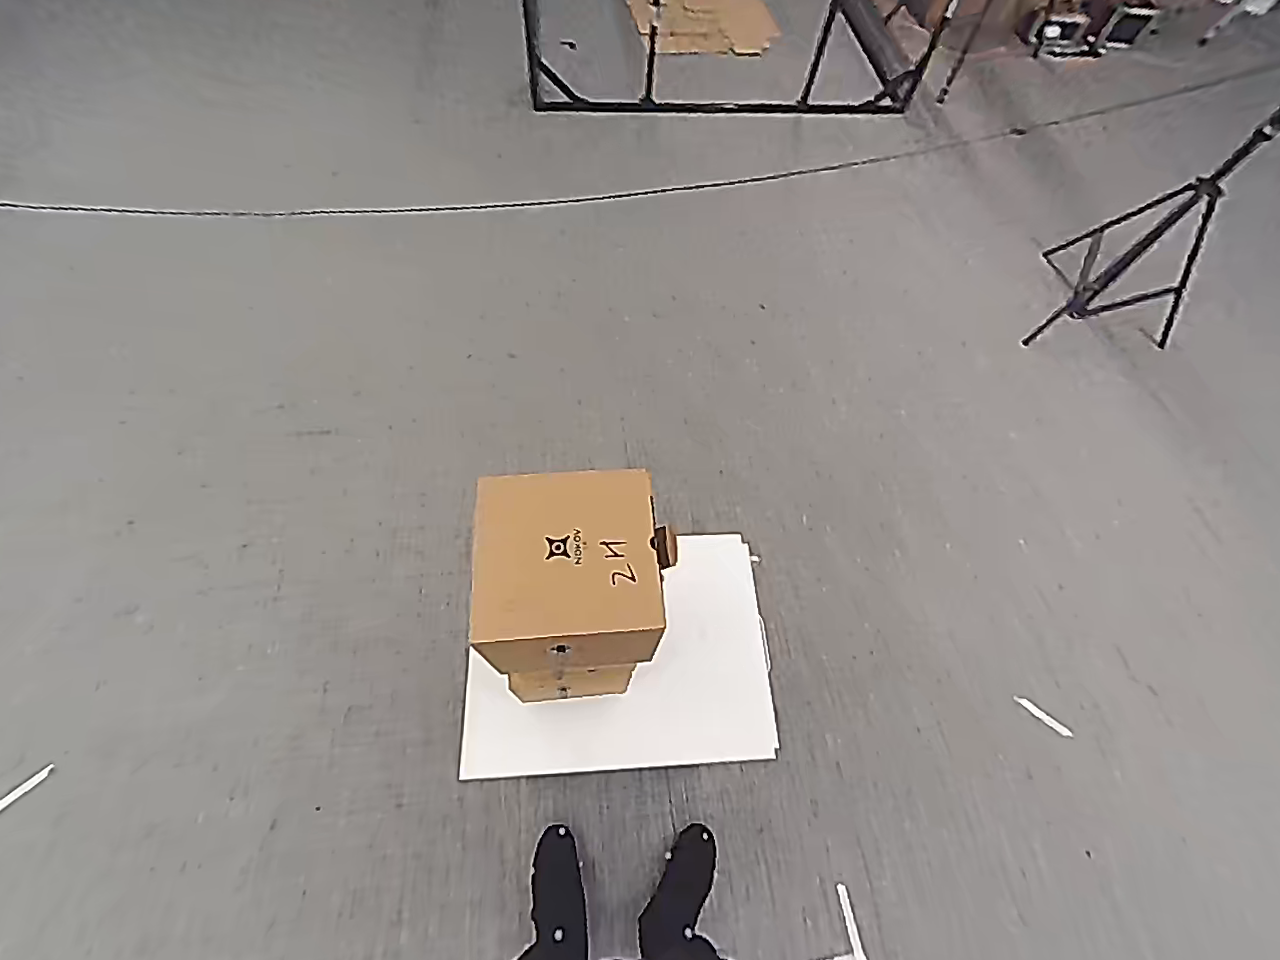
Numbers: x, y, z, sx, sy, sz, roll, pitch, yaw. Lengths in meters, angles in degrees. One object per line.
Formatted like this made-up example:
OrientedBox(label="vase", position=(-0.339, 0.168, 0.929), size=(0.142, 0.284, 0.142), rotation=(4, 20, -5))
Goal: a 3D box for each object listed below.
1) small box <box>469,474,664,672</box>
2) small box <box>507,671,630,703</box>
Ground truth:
OrientedBox(label="small box", position=(-0.075, 0.107, 0.586), size=(0.179, 0.176, 0.168), rotation=(-2, 62, -6))
OrientedBox(label="small box", position=(-0.113, 0.258, 0.873), size=(0.179, 0.176, 0.168), rotation=(-3, 62, -7))
